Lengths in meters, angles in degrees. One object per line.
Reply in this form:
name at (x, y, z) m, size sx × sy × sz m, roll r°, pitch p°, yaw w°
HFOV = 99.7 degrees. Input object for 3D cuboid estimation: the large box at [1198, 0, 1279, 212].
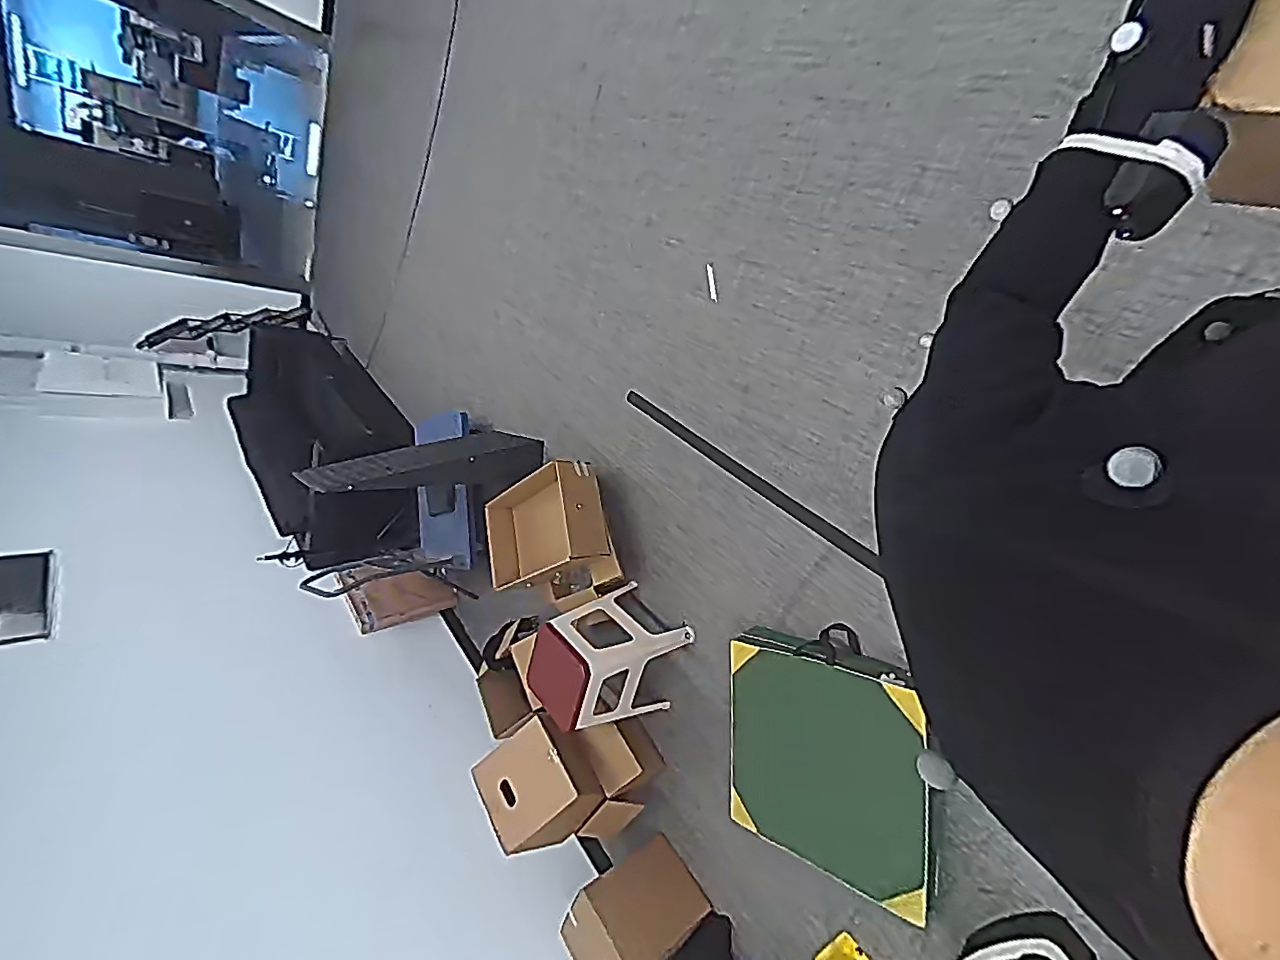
large box at (0.657, -0.335, 0.303) m, size 0.408 × 0.320 × 0.320 m, roll 32°, pitch 121°, yaw 39°
